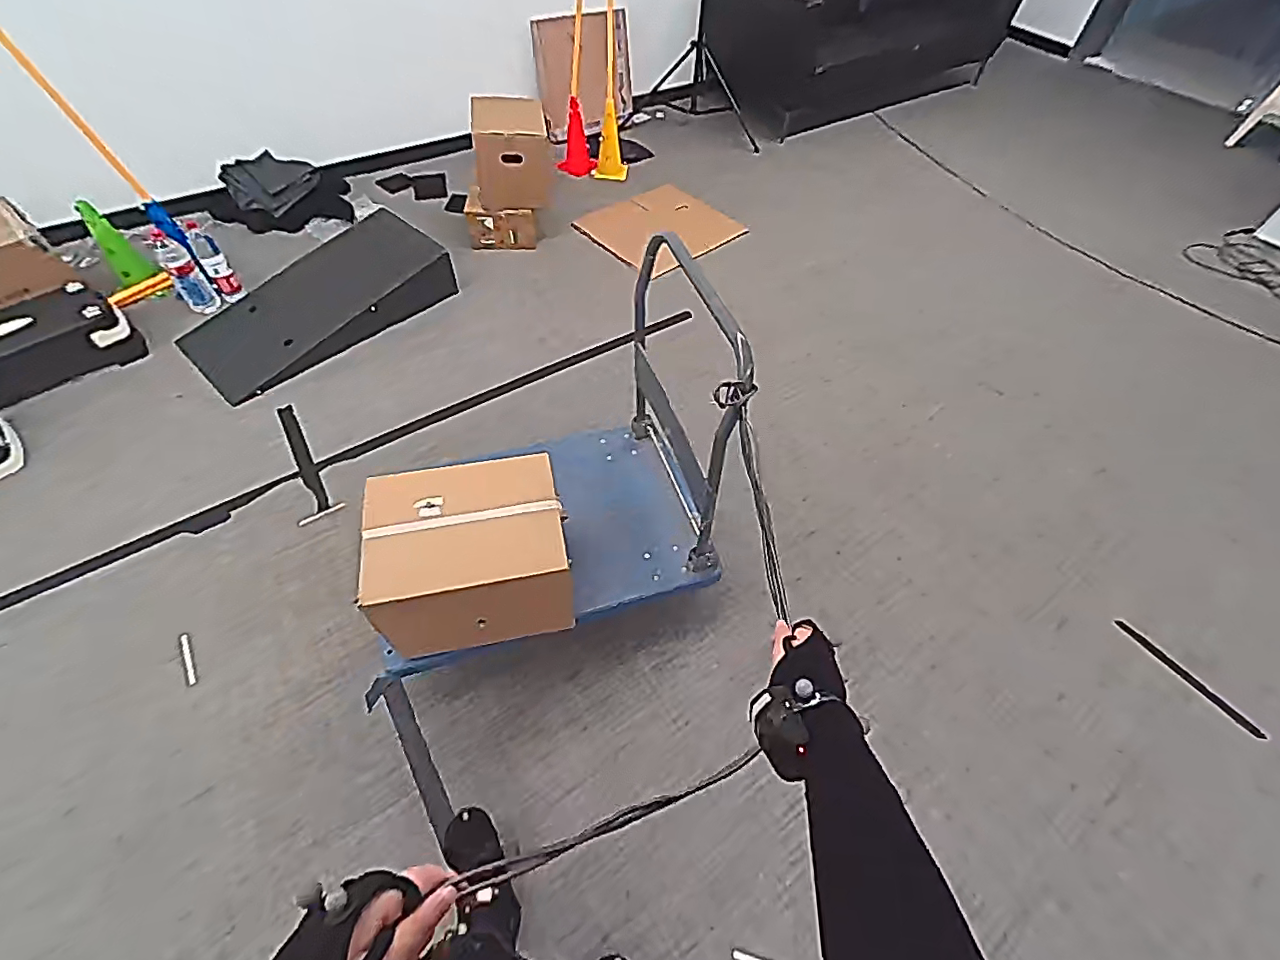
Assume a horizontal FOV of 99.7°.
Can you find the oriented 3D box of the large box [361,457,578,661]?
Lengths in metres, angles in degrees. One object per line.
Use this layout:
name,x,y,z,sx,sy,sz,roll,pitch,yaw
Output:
large box,-0.372,0.186,1.254,0.408,0.320,0.320,-9,53,-10
